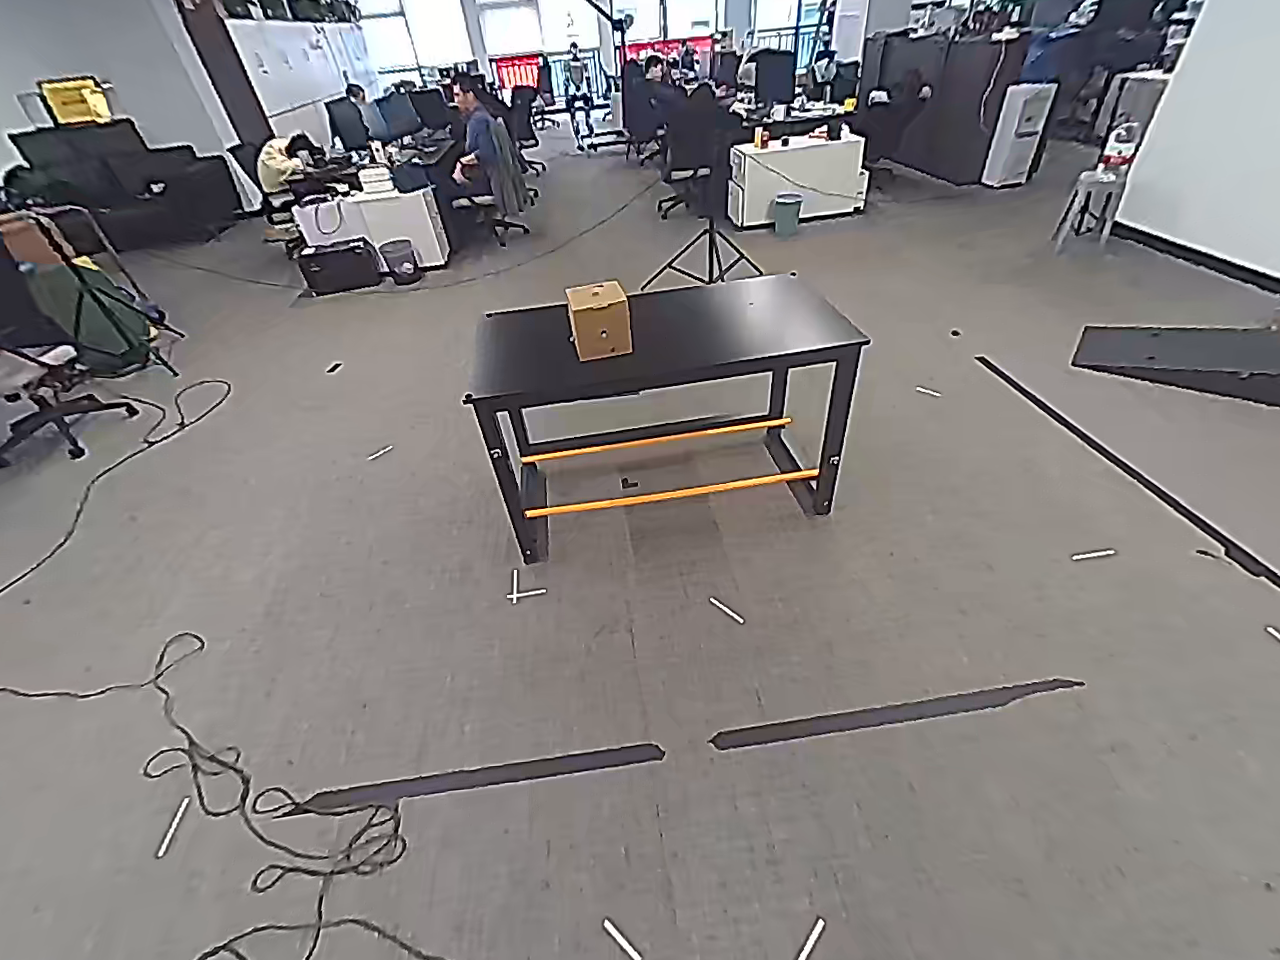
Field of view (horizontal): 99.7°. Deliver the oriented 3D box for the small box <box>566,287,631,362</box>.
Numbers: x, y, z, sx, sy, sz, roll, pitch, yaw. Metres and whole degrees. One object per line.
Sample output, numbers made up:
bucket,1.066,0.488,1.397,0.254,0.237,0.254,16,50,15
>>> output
small box,-0.128,-0.480,1.691,0.168,0.176,0.179,-12,41,-6
